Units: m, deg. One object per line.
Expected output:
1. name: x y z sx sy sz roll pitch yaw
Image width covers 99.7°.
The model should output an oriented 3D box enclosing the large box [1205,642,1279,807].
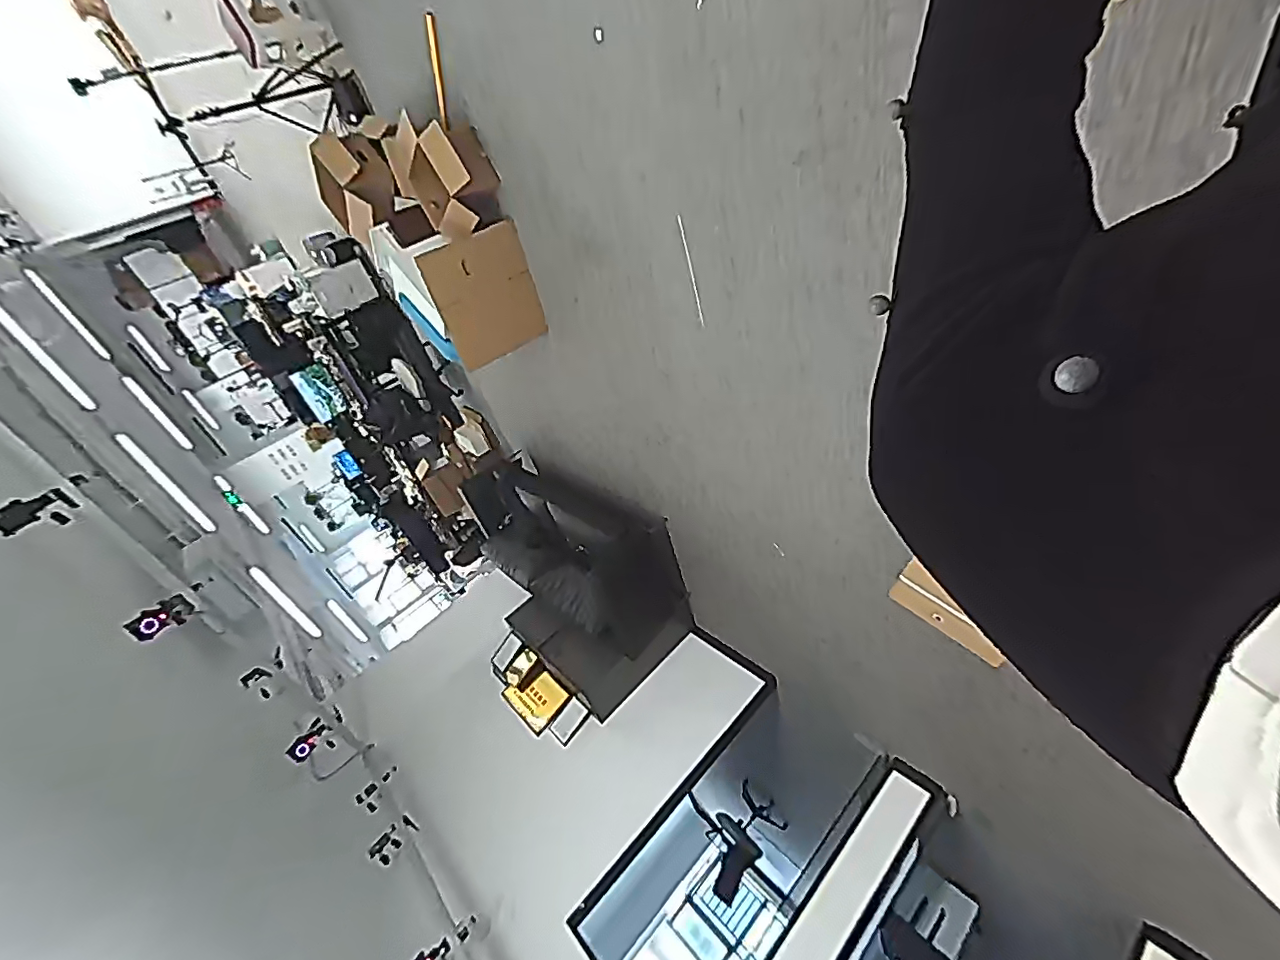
1. large box: 1.787 0.638 1.358 0.320 0.320 0.408 54 153 -7
